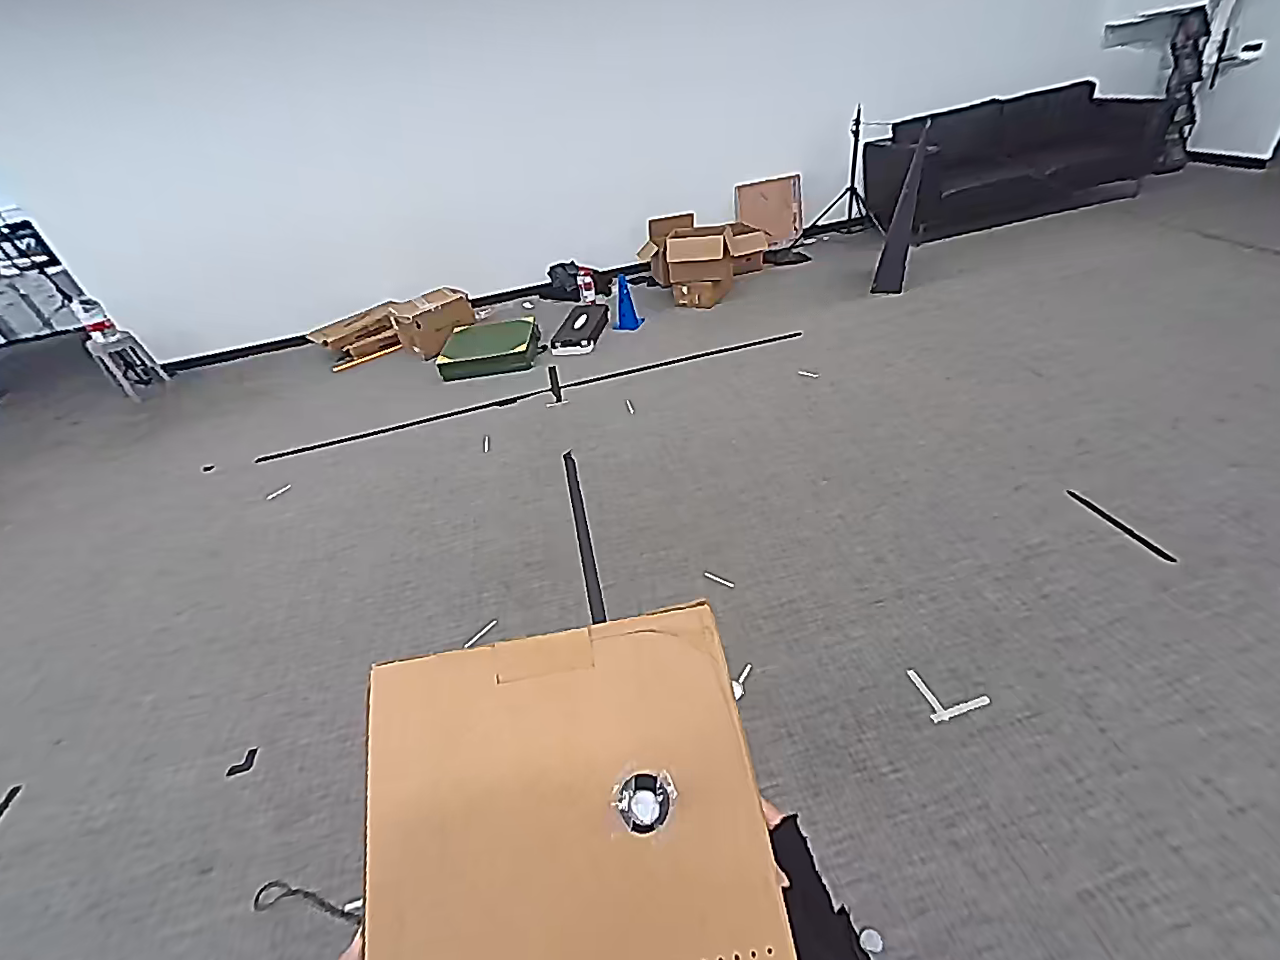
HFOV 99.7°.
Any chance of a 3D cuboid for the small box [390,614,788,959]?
[{"bbox_3d":[-0.024,0.189,0.317,0.168,0.179,0.176,-10,67,-1],"label":"small box"}]
